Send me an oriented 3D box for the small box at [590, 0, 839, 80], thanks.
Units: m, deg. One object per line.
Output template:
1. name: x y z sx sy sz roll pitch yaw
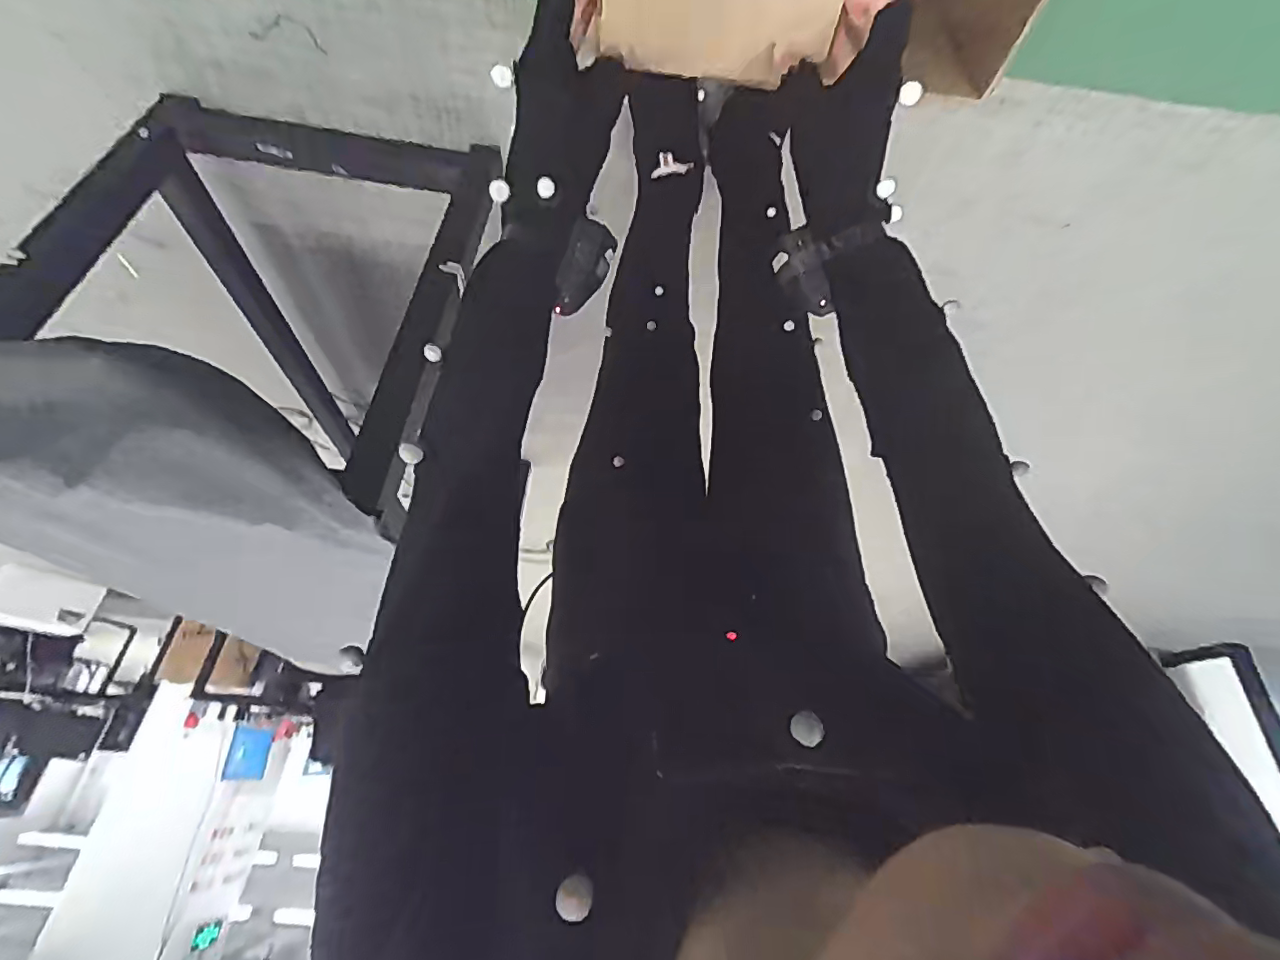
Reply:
1. small box: 0.052 -0.424 0.388 0.179 0.176 0.168 -1 147 -8
